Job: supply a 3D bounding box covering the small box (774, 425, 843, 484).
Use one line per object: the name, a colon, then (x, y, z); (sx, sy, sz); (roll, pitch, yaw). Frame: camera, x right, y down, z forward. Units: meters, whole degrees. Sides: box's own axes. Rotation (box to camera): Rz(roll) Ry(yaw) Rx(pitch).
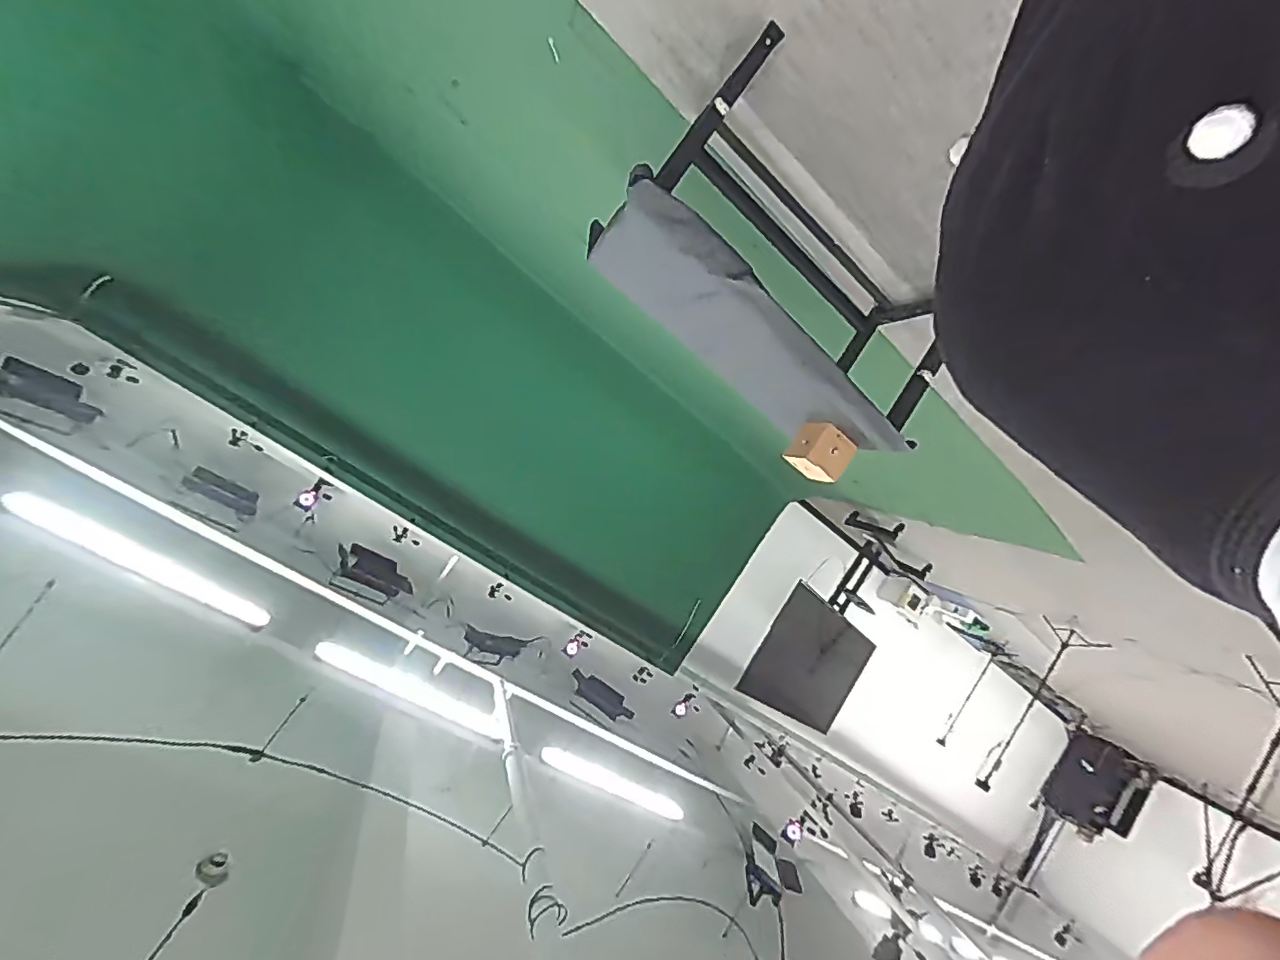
small box: (0.671, -0.104, 2.131); (0.168, 0.176, 0.179); (37, 173, -17)
